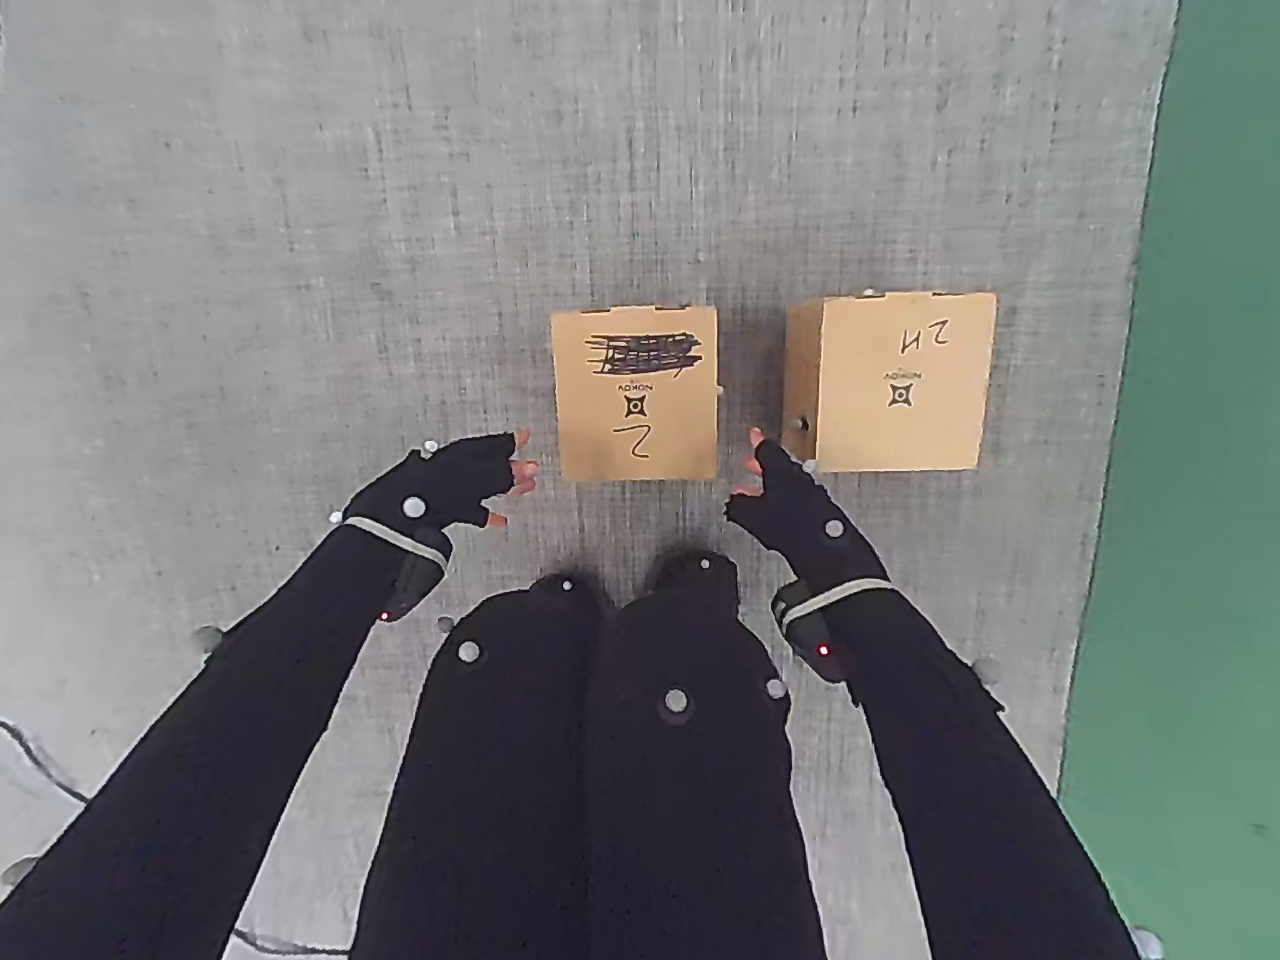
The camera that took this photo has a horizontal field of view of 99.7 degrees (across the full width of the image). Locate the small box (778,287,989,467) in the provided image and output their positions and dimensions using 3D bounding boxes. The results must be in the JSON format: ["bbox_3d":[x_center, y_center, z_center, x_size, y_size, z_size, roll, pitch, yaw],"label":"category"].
[{"bbox_3d":[0.257,-0.118,0.615,0.168,0.176,0.179,-1,103,3],"label":"small box"}]
